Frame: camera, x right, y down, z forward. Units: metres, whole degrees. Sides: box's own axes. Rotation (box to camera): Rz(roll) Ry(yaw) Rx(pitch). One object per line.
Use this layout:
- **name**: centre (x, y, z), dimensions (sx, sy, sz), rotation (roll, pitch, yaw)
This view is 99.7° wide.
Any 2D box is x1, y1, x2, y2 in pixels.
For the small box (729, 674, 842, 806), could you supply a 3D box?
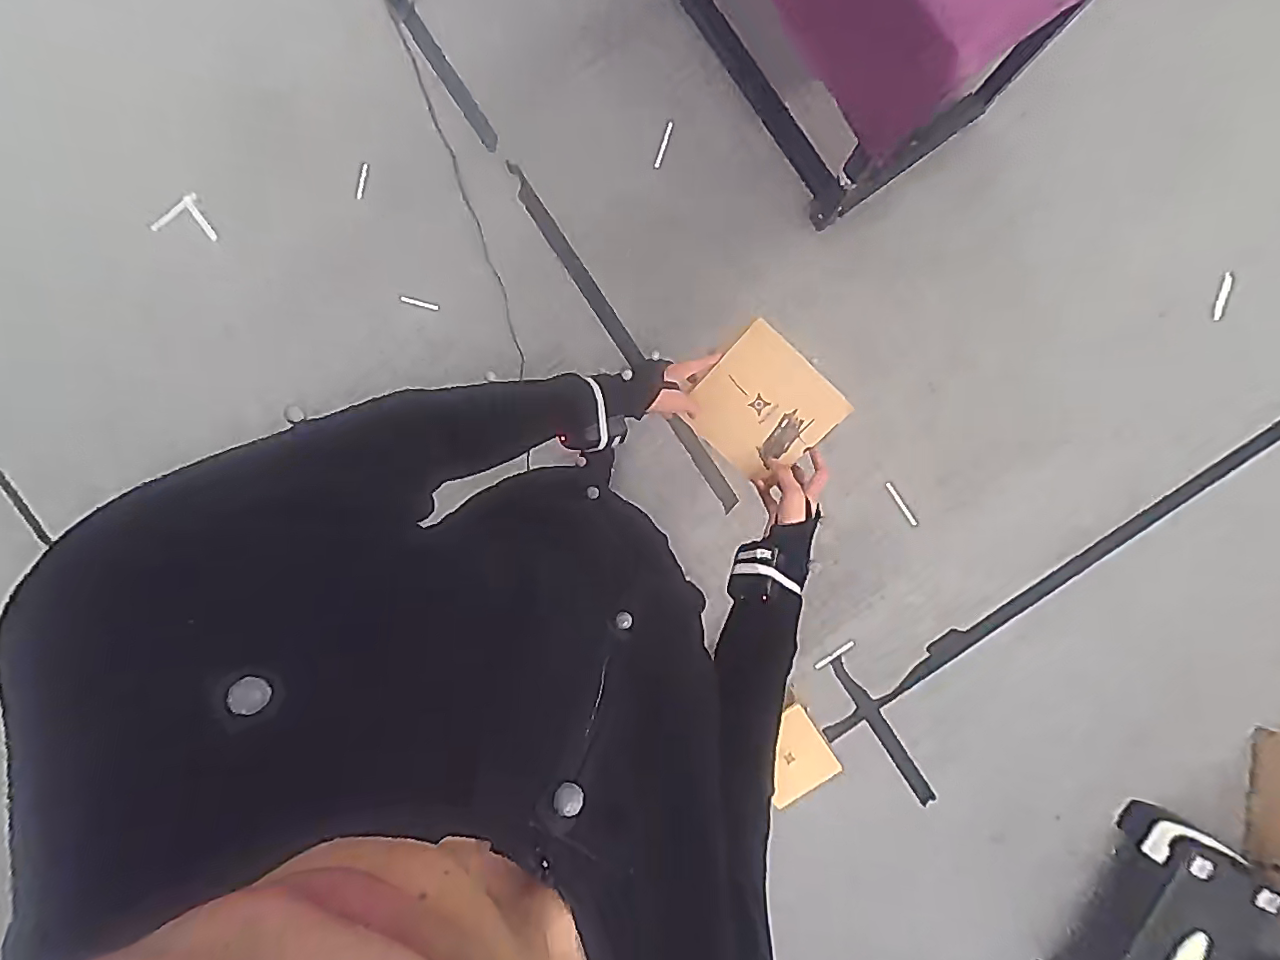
- **small box**: centre (0.320, 0.580, 1.227), dimensions (0.168, 0.176, 0.179), rotation (-34, 91, 4)

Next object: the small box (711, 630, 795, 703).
- **small box**: centre (0.323, 0.564, 1.554), dimensions (0.168, 0.176, 0.179), rotation (-38, 90, 3)

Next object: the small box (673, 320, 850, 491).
- **small box**: centre (0.169, -0.119, 0.794), dimensions (0.179, 0.176, 0.168), rotation (41, 106, -7)
